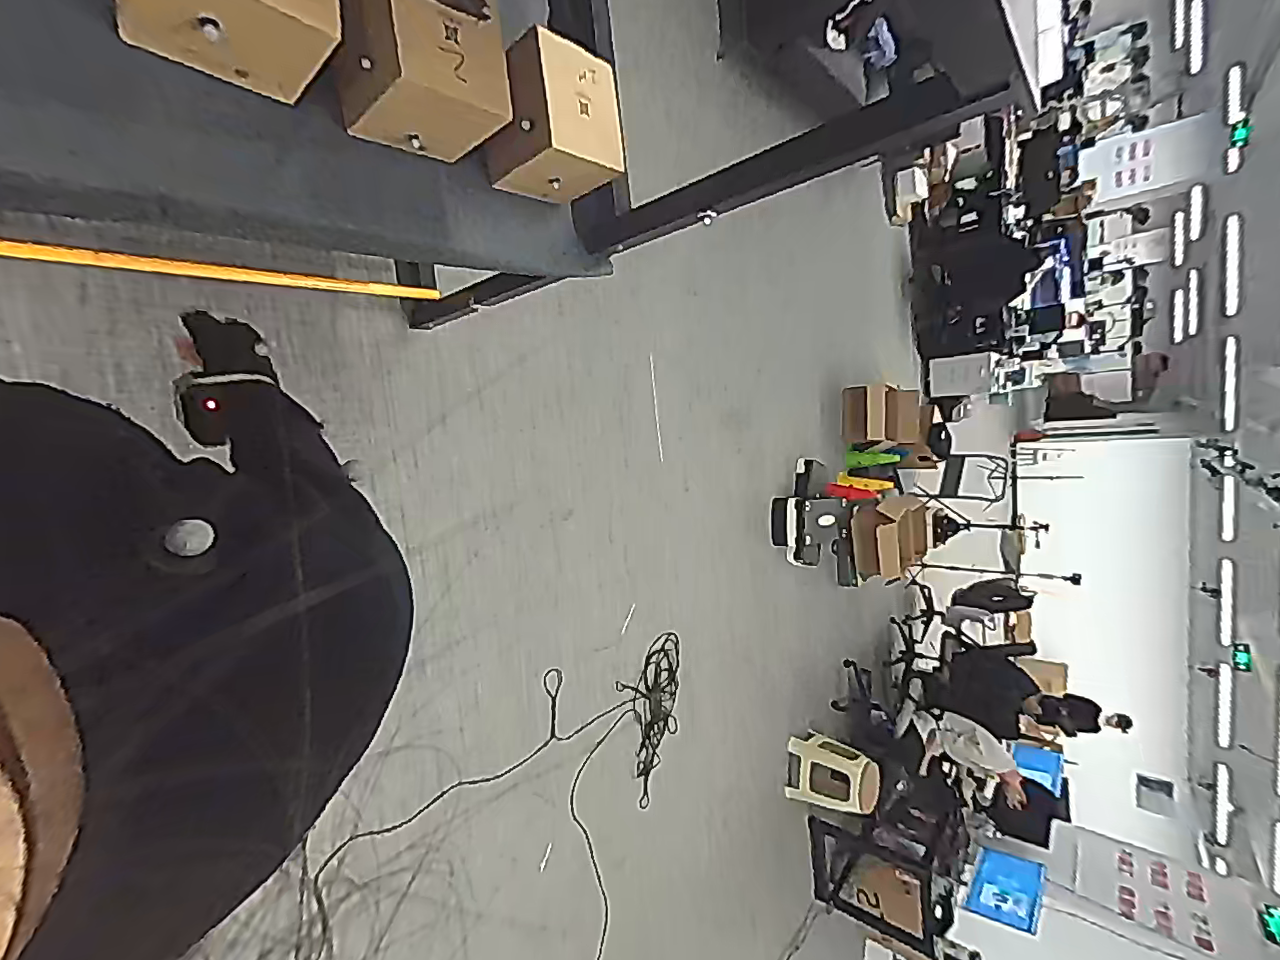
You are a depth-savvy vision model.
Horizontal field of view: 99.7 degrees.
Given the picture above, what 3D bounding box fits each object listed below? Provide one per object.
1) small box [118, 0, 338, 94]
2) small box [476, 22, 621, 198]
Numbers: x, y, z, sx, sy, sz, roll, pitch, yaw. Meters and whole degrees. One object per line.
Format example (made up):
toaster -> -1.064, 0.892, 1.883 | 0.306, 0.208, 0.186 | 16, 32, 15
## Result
small box -> -0.451, -0.571, 0.586 | 0.168, 0.176, 0.179 | -8, 96, -49
small box -> -0.156, -0.608, 0.922 | 0.168, 0.176, 0.179 | -16, 102, -48
